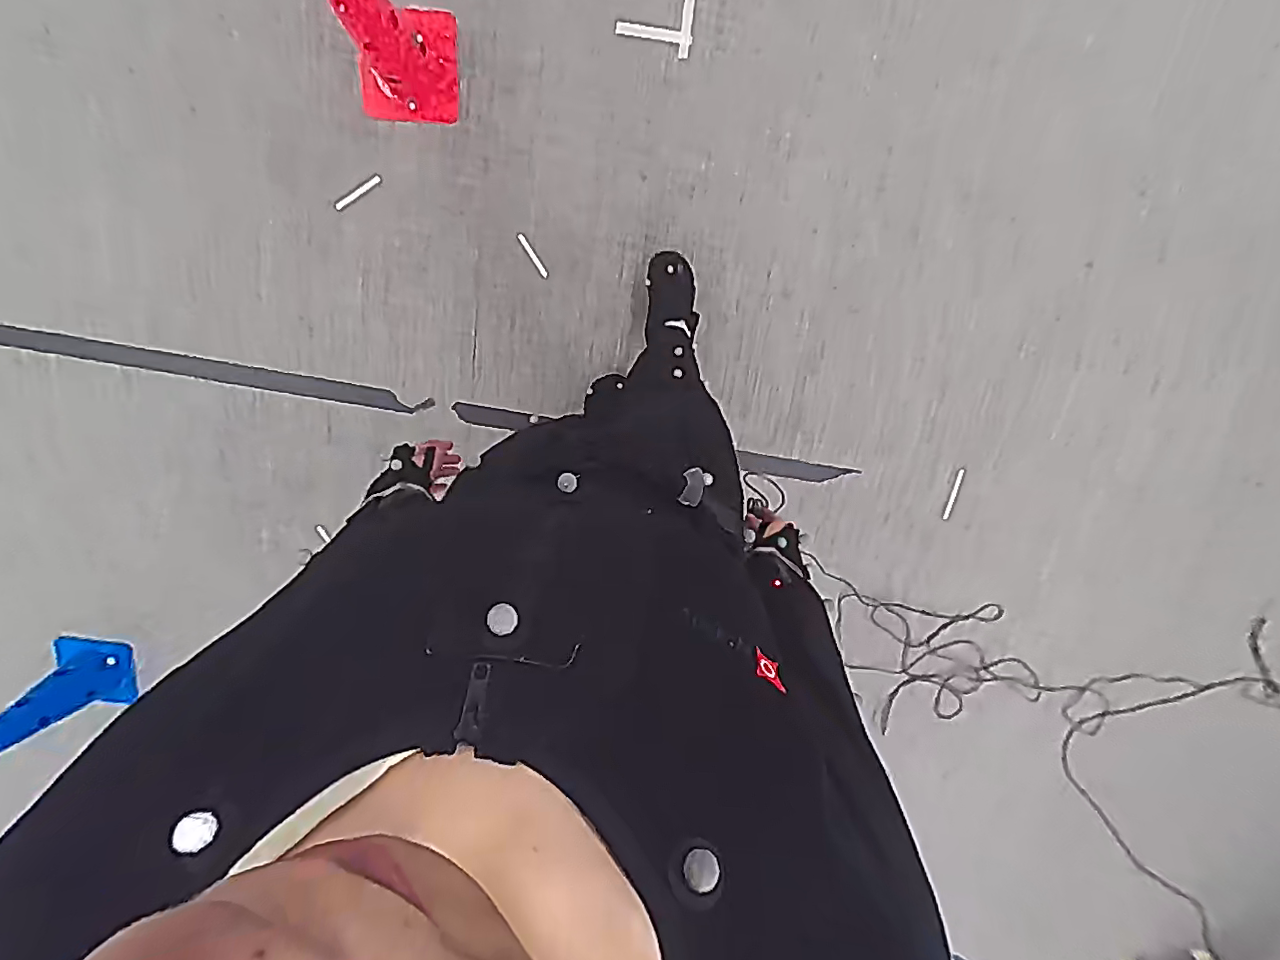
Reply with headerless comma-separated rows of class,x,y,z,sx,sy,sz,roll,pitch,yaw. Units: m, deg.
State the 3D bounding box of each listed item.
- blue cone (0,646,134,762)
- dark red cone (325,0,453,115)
blue cone,-1.484,0.589,1.318,0.193,0.380,0.192,9,107,-4
dark red cone,-0.473,-0.797,0.922,0.202,0.394,0.201,1,107,-2
